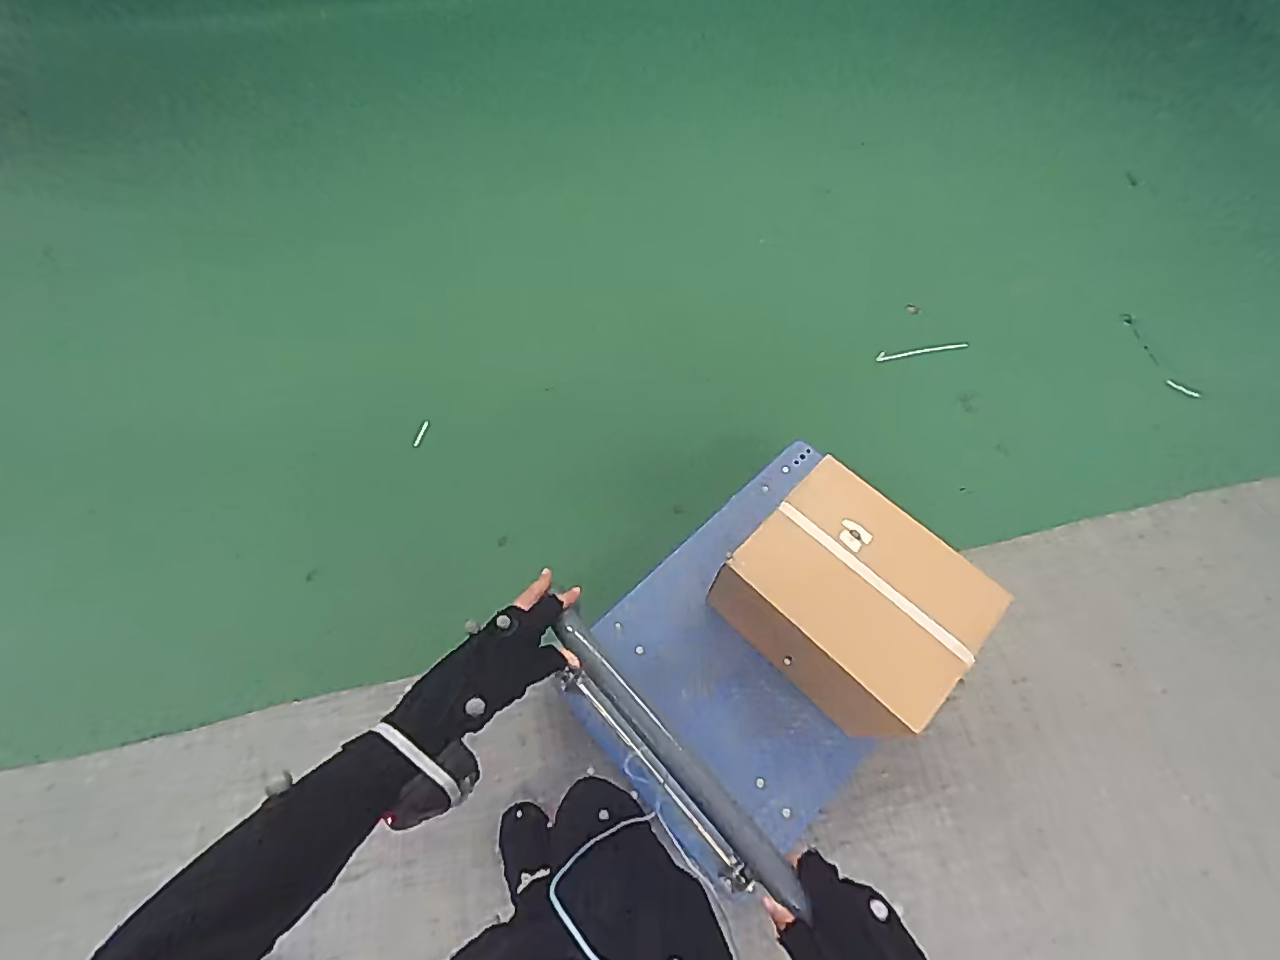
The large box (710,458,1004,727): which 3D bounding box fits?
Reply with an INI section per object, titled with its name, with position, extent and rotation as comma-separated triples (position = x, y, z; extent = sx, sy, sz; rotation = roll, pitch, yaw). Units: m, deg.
[large box]
position = 0.403, 0.238, 1.102
extent = 0.408, 0.320, 0.320
rotation = 41, 70, 18
